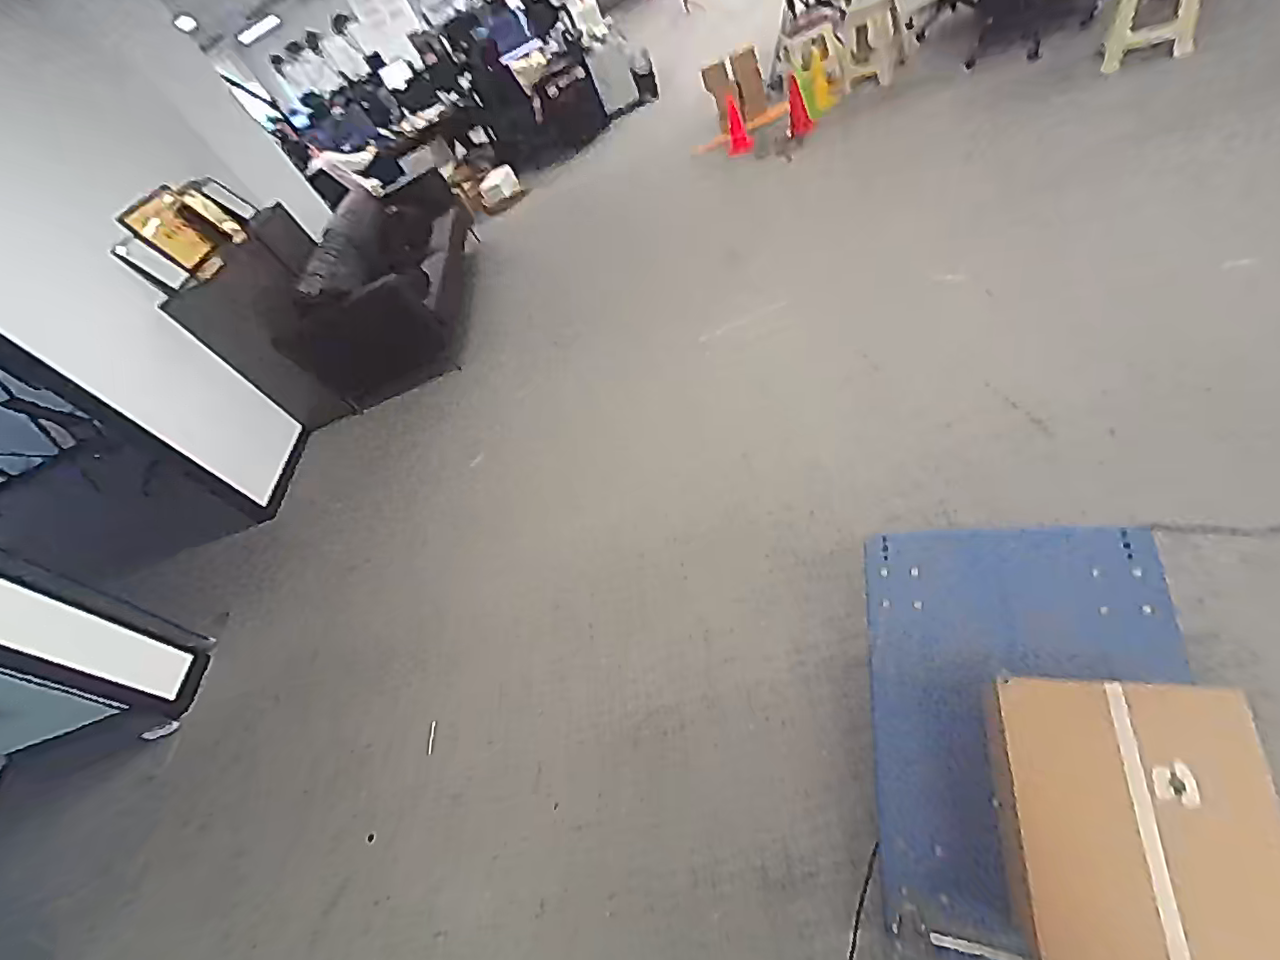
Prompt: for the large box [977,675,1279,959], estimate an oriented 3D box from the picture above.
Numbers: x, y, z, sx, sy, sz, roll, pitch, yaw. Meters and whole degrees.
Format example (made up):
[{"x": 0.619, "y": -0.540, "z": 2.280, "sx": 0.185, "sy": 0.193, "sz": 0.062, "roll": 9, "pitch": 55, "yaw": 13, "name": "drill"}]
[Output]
[{"x": 0.781, "y": 0.566, "z": 0.907, "sx": 0.320, "sy": 0.320, "sz": 0.408, "roll": -5, "pitch": 63, "yaw": 24, "name": "large box"}]
